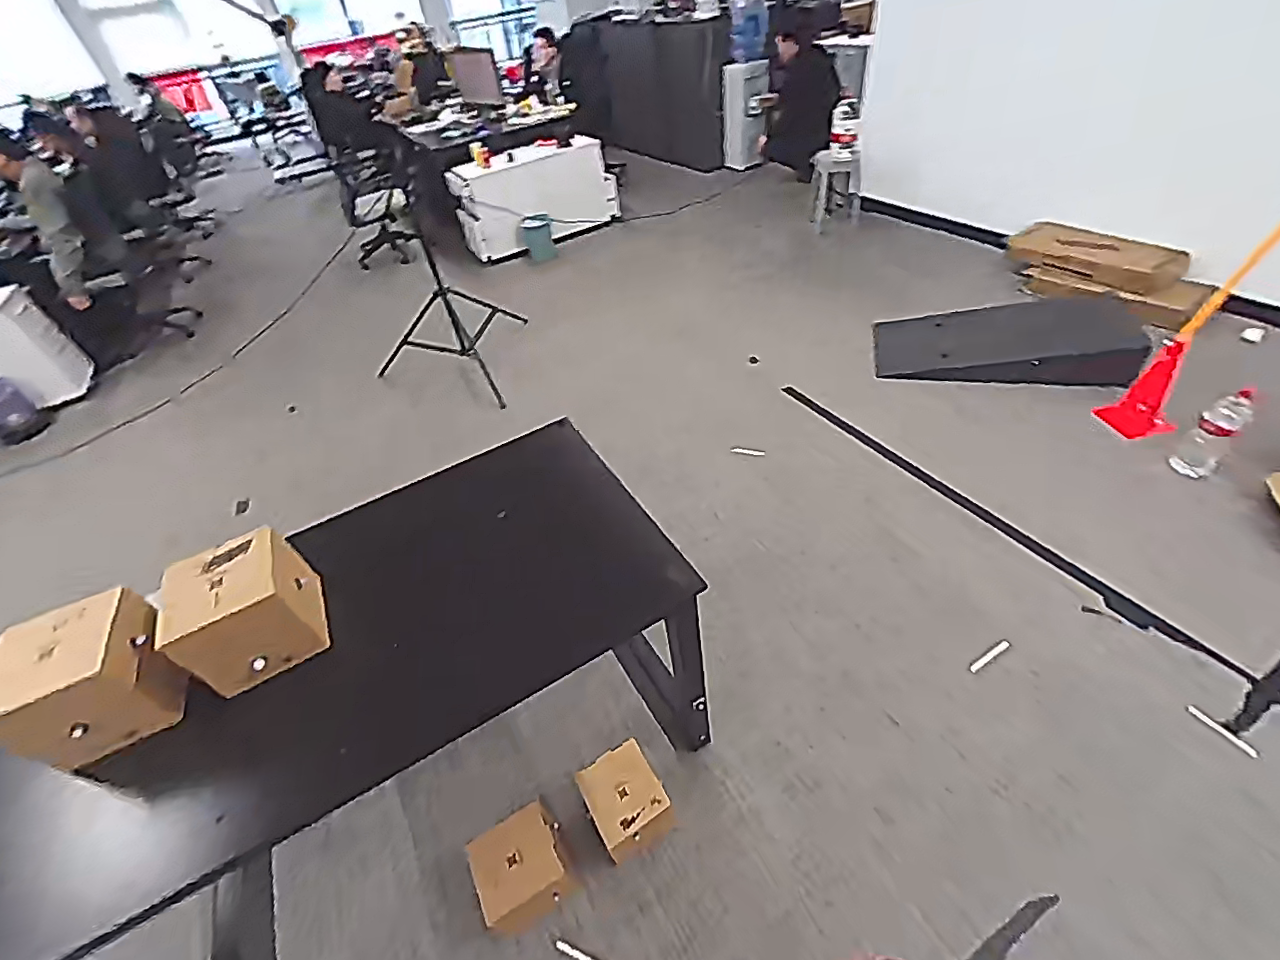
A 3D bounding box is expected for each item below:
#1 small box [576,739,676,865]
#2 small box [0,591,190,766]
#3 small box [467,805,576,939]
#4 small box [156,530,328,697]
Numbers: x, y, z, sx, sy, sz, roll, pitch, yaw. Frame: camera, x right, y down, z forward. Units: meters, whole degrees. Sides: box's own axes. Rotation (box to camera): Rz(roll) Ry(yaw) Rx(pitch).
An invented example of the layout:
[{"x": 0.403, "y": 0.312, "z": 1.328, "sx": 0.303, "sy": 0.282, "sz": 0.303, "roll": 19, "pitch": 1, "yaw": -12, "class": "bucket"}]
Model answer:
[{"x": -0.031, "y": 0.767, "z": 1.285, "sx": 0.168, "sy": 0.176, "sz": 0.179, "roll": -28, "pitch": 45, "yaw": -17, "class": "small box"}, {"x": -0.849, "y": 0.316, "z": 0.844, "sx": 0.168, "sy": 0.176, "sz": 0.179, "roll": -24, "pitch": 45, "yaw": -15, "class": "small box"}, {"x": -0.258, "y": 0.879, "z": 1.212, "sx": 0.179, "sy": 0.176, "sz": 0.168, "roll": -27, "pitch": 45, "yaw": -17, "class": "small box"}, {"x": -0.654, "y": 0.223, "z": 0.905, "sx": 0.168, "sy": 0.176, "sz": 0.179, "roll": -27, "pitch": 47, "yaw": -18, "class": "small box"}]
